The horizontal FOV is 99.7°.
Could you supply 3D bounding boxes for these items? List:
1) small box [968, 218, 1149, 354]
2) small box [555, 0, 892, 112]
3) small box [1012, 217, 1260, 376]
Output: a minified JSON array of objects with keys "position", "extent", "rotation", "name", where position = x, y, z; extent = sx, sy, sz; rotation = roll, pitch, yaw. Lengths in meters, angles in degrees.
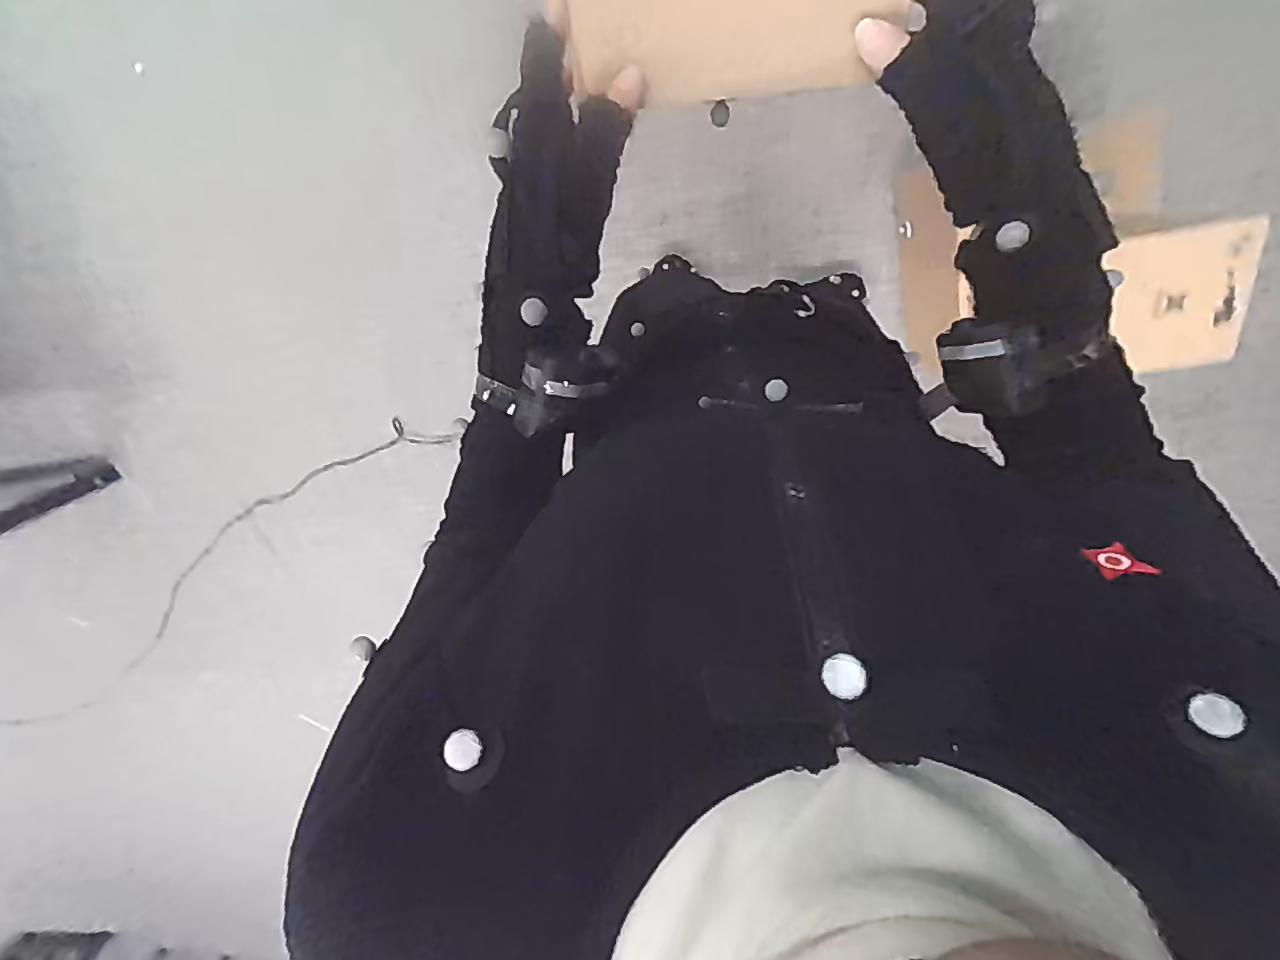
[{"position":[0.656,-0.317,0.875],"extent":[0.168,0.176,0.179],"rotation":[-6,113,9],"name":"small box"},{"position":[0.040,-0.329,0.322],"extent":[0.179,0.176,0.168],"rotation":[-6,126,5],"name":"small box"},{"position":[0.639,-0.248,0.728],"extent":[0.179,0.176,0.168],"rotation":[-6,114,10],"name":"small box"}]
